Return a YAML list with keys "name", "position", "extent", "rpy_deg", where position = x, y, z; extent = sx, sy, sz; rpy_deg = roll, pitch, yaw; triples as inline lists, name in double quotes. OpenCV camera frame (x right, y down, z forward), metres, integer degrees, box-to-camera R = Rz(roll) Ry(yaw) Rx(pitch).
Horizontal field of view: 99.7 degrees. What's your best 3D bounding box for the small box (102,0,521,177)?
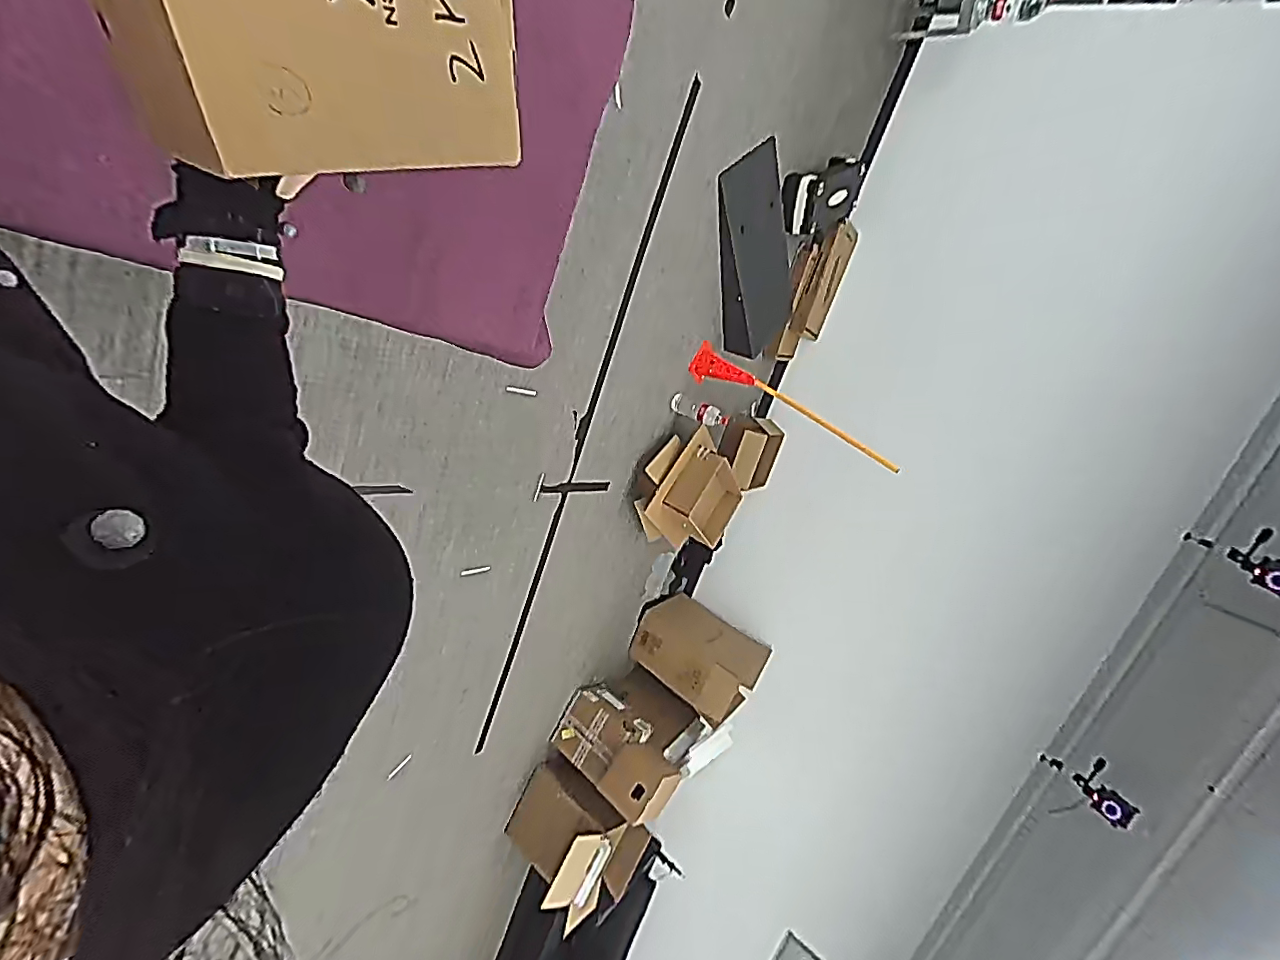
- name: "small box"
  position: [-0.194, -0.279, 0.313]
  extent: [0.179, 0.176, 0.168]
  rpy_deg: [-30, 138, -38]
